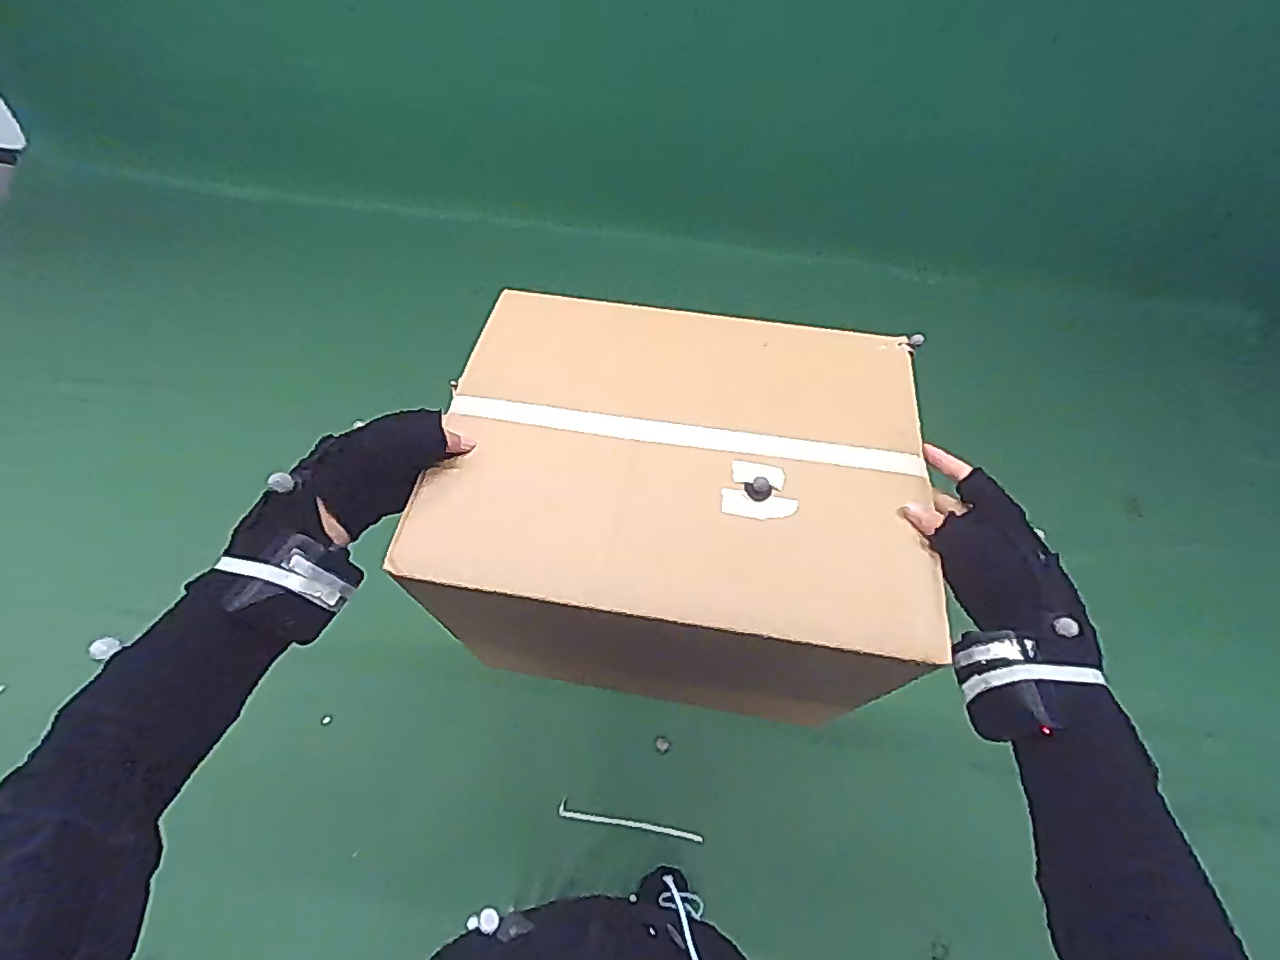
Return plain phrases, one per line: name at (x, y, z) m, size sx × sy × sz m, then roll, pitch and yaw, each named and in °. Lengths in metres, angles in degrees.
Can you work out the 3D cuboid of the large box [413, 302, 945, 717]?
large box at (0.039, 0.046, 0.599) m, size 0.408 × 0.320 × 0.320 m, roll 9°, pitch 59°, yaw 4°
